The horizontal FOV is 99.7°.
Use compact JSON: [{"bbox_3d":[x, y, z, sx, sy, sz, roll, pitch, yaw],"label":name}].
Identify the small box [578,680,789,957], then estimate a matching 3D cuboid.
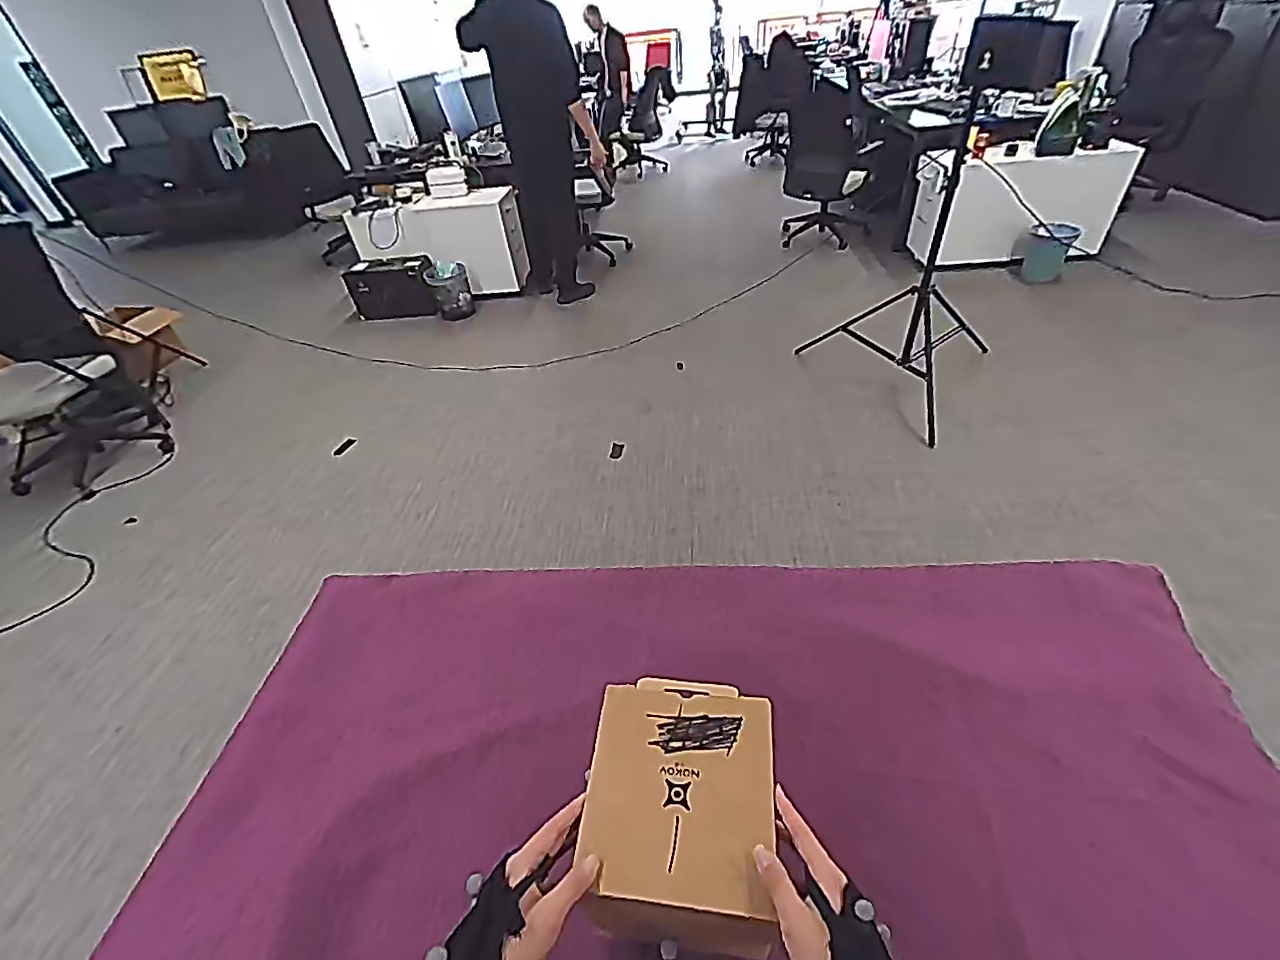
[{"bbox_3d":[0.048,0.323,0.525,0.168,0.176,0.179,1,42,9],"label":"small box"}]
